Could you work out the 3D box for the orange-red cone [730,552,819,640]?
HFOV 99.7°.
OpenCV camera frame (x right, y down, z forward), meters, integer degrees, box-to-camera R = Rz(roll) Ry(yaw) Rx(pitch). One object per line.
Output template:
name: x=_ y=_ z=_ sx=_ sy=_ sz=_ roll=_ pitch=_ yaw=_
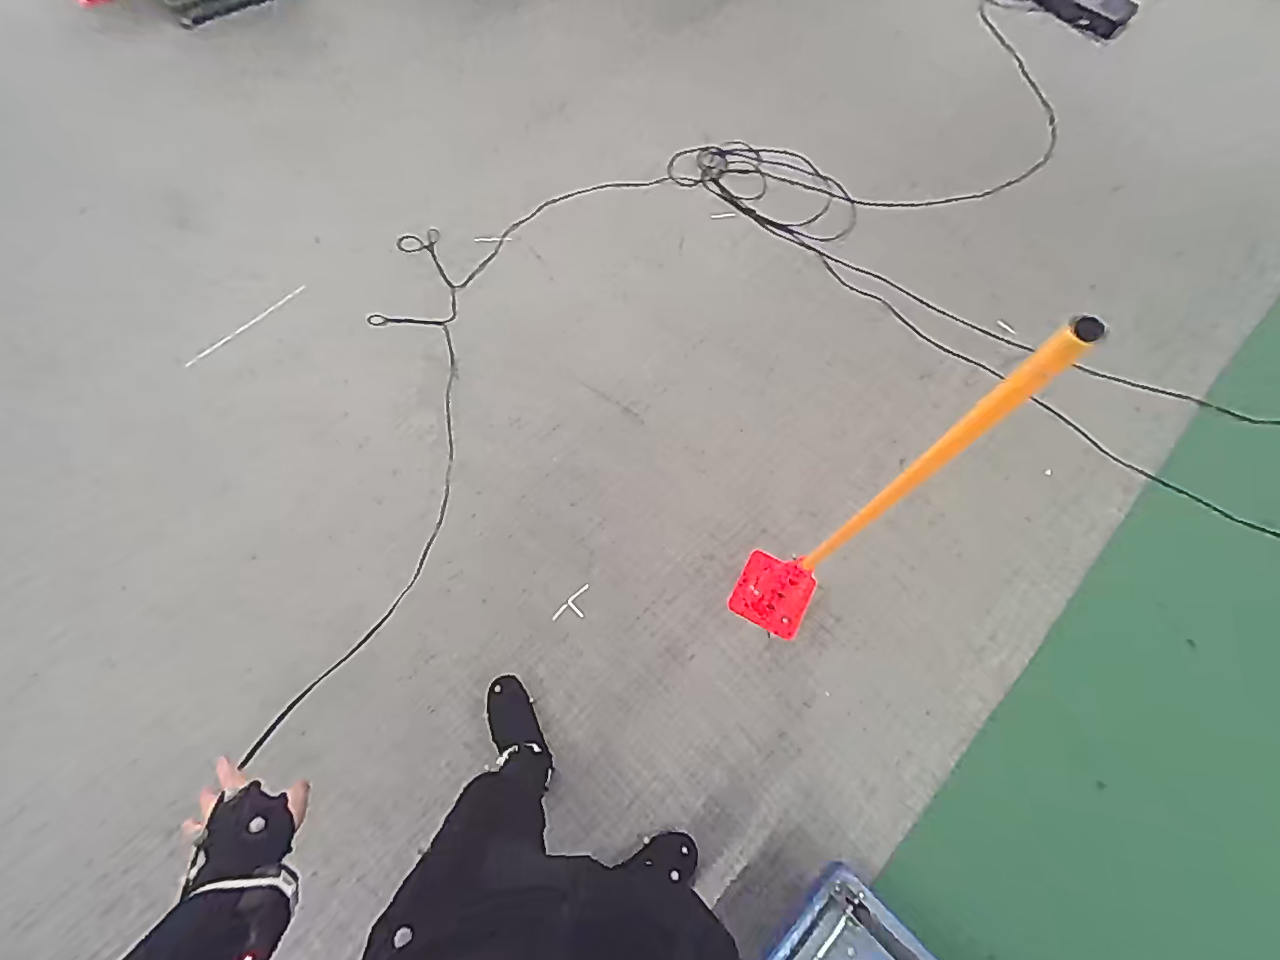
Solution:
orange-red cone: x=0.375 y=0.254 z=1.357 sx=0.198 sy=0.360 sz=0.199 roll=28 pitch=69 yaw=11
